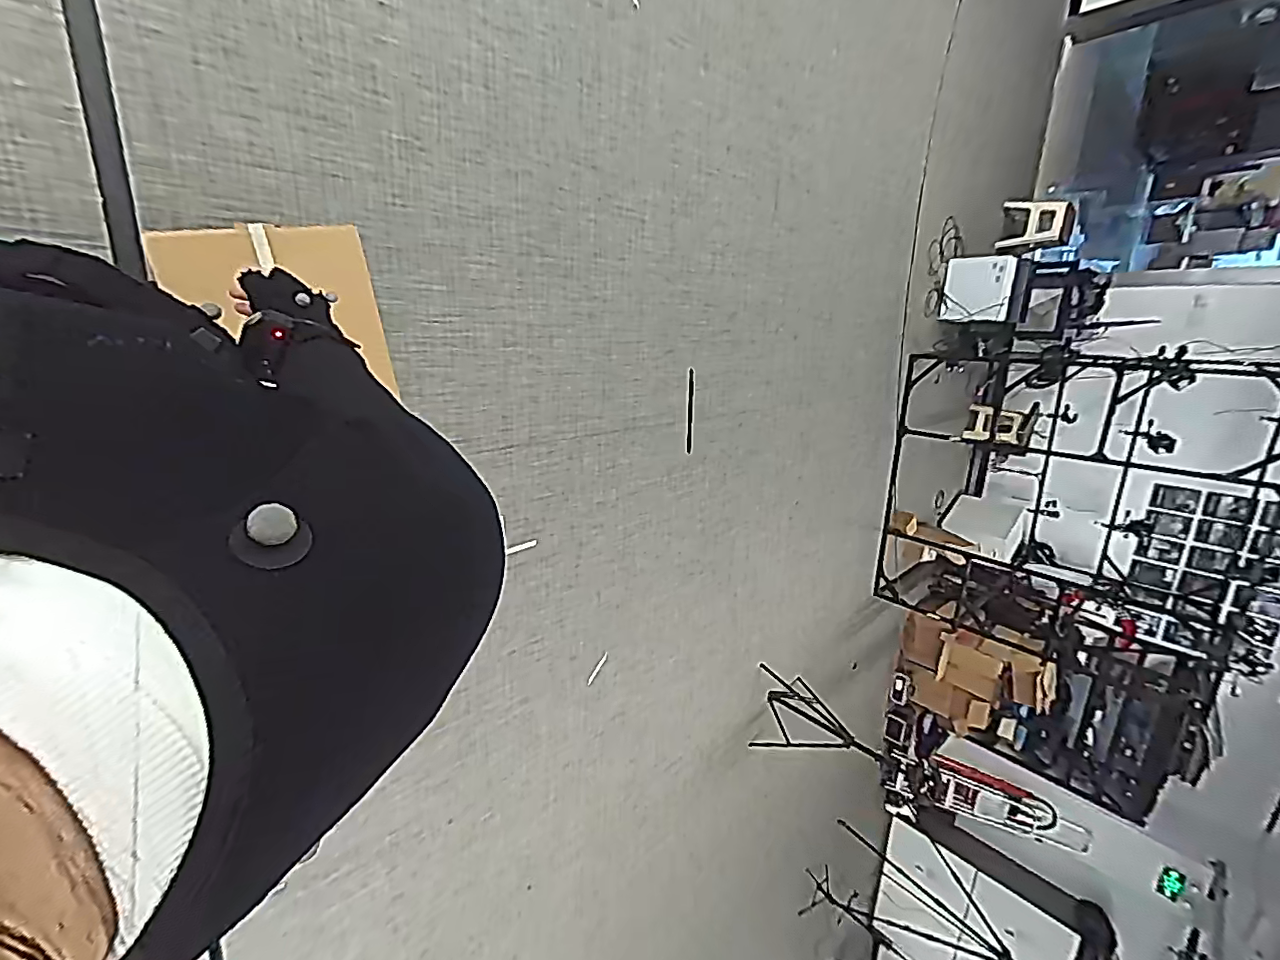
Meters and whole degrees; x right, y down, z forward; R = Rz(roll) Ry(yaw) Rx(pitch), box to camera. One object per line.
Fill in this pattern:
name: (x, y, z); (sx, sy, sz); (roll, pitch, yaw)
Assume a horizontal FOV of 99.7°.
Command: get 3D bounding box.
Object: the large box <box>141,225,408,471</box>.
large box: (-0.717, -0.278, 1.093); (0.320, 0.320, 0.408); (-19, 116, -32)
